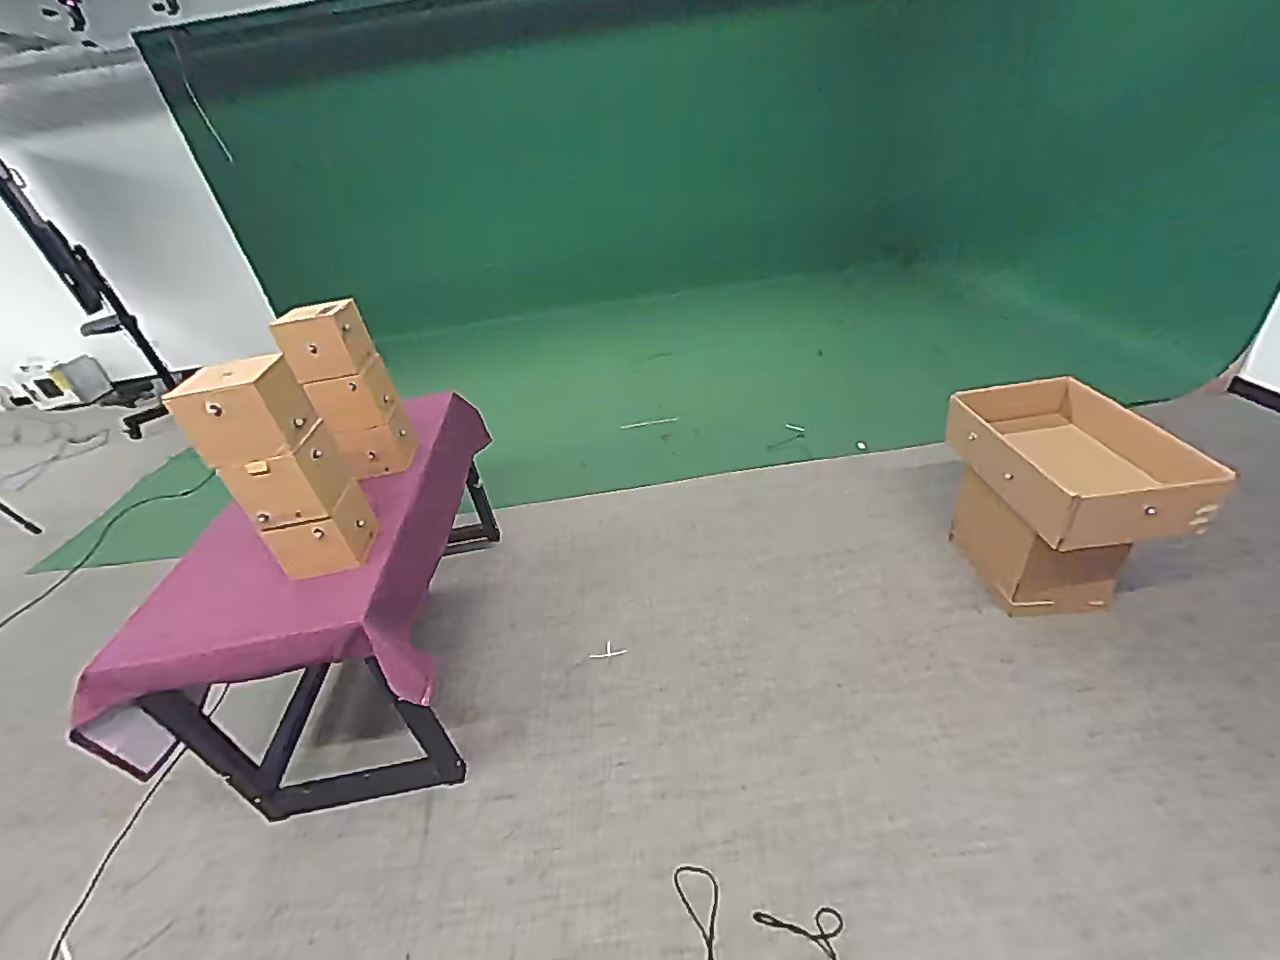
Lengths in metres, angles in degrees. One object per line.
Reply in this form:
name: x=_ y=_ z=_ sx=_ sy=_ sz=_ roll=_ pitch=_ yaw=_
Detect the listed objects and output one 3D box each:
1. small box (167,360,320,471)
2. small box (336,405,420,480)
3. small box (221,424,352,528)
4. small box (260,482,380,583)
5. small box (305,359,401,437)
small box: x=-0.834 y=-0.137 z=1.159 sx=0.179 sy=0.176 sz=0.168 roll=-11 pitch=34 yaw=-3
small box: x=-0.821 y=-0.112 z=1.714 sx=0.168 sy=0.176 sz=0.179 roll=-11 pitch=34 yaw=-2
small box: x=-0.801 y=-0.005 z=1.249 sx=0.168 sy=0.176 sz=0.179 roll=-11 pitch=33 yaw=-1
small box: x=-0.777 y=0.130 z=1.340 sx=0.179 sy=0.176 sz=0.168 roll=-11 pitch=33 yaw=-1
small box: x=-0.851 y=-0.243 z=1.622 sx=0.179 sy=0.176 sz=0.168 roll=-10 pitch=33 yaw=-1
